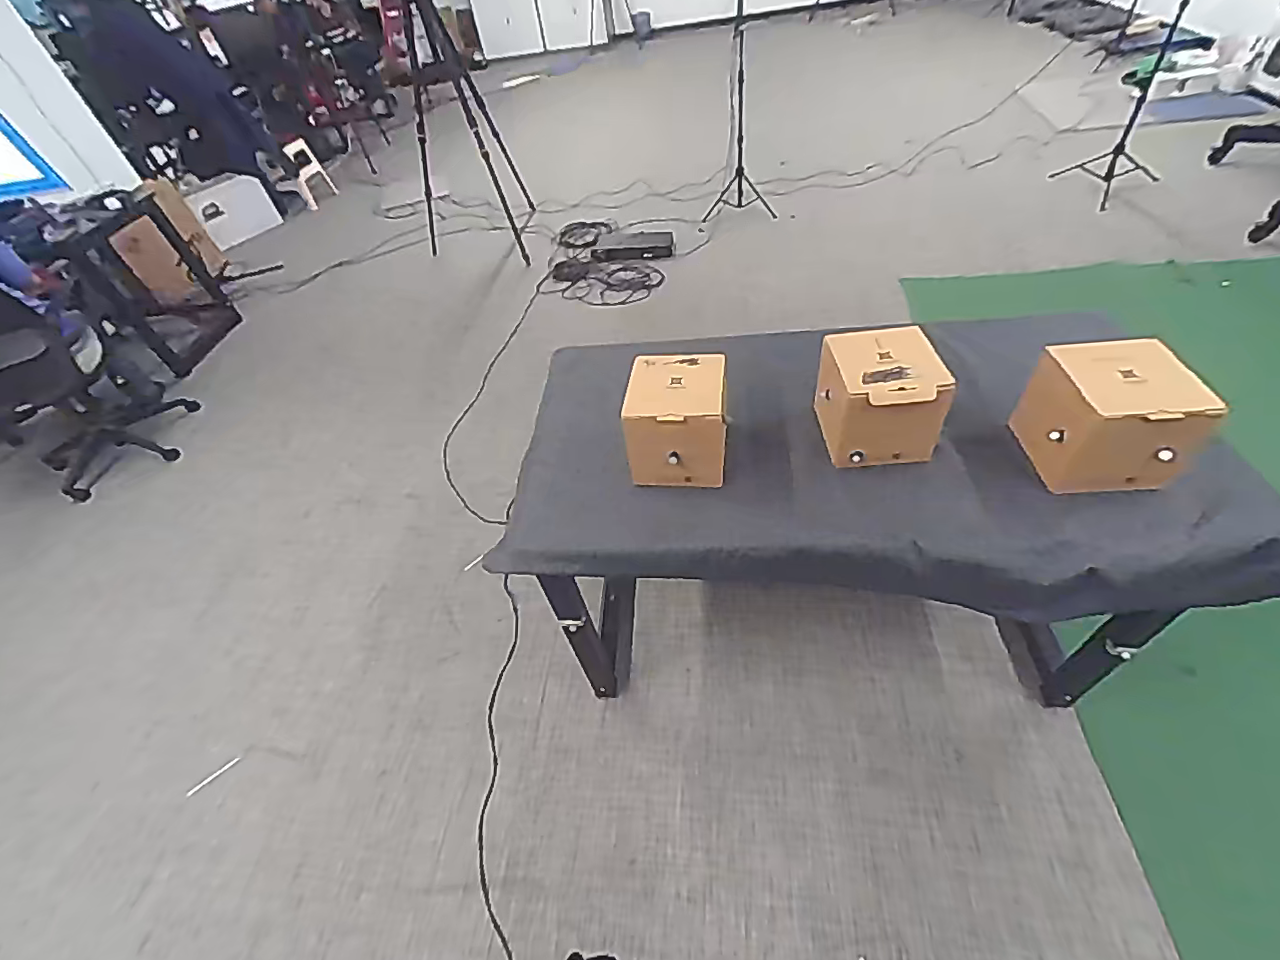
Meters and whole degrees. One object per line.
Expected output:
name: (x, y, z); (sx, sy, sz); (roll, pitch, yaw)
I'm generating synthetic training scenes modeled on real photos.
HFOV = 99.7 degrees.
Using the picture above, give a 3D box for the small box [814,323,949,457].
small box: (0.415, -0.153, 0.963); (0.168, 0.176, 0.179); (-5, 47, 6)

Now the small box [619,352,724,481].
small box: (0.067, -0.112, 0.986); (0.168, 0.176, 0.179); (1, 48, 11)

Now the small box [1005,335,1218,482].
small box: (0.732, -0.108, 0.868); (0.168, 0.176, 0.179); (-3, 46, 6)
